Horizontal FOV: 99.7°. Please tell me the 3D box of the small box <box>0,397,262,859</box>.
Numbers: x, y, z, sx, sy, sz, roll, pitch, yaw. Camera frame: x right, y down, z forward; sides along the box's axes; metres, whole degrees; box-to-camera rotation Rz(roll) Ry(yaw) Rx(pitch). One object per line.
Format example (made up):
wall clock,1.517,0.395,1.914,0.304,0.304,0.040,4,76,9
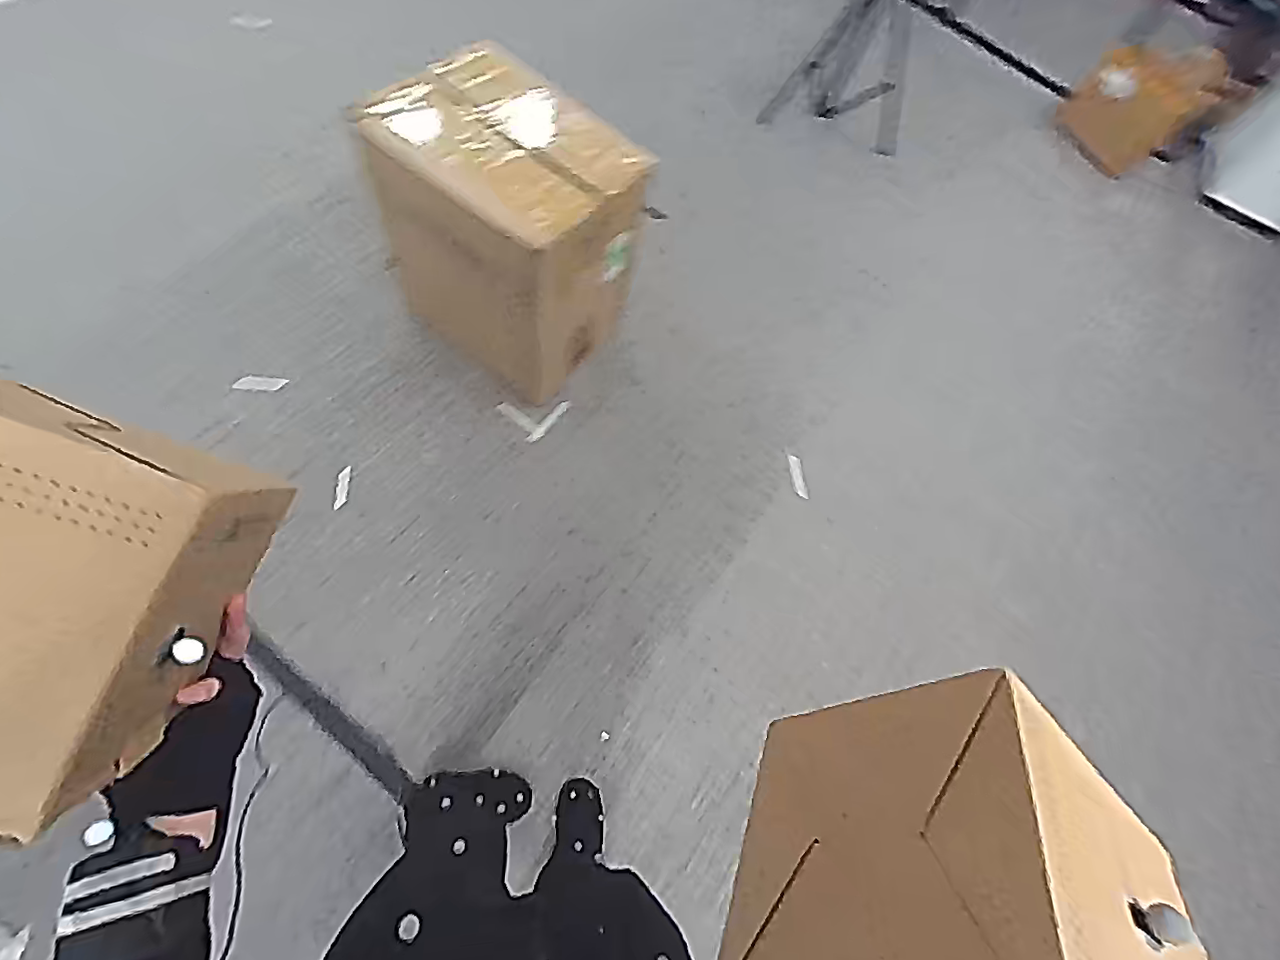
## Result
small box,-0.334,0.052,0.282,0.179,0.168,0.176,22,81,-18
